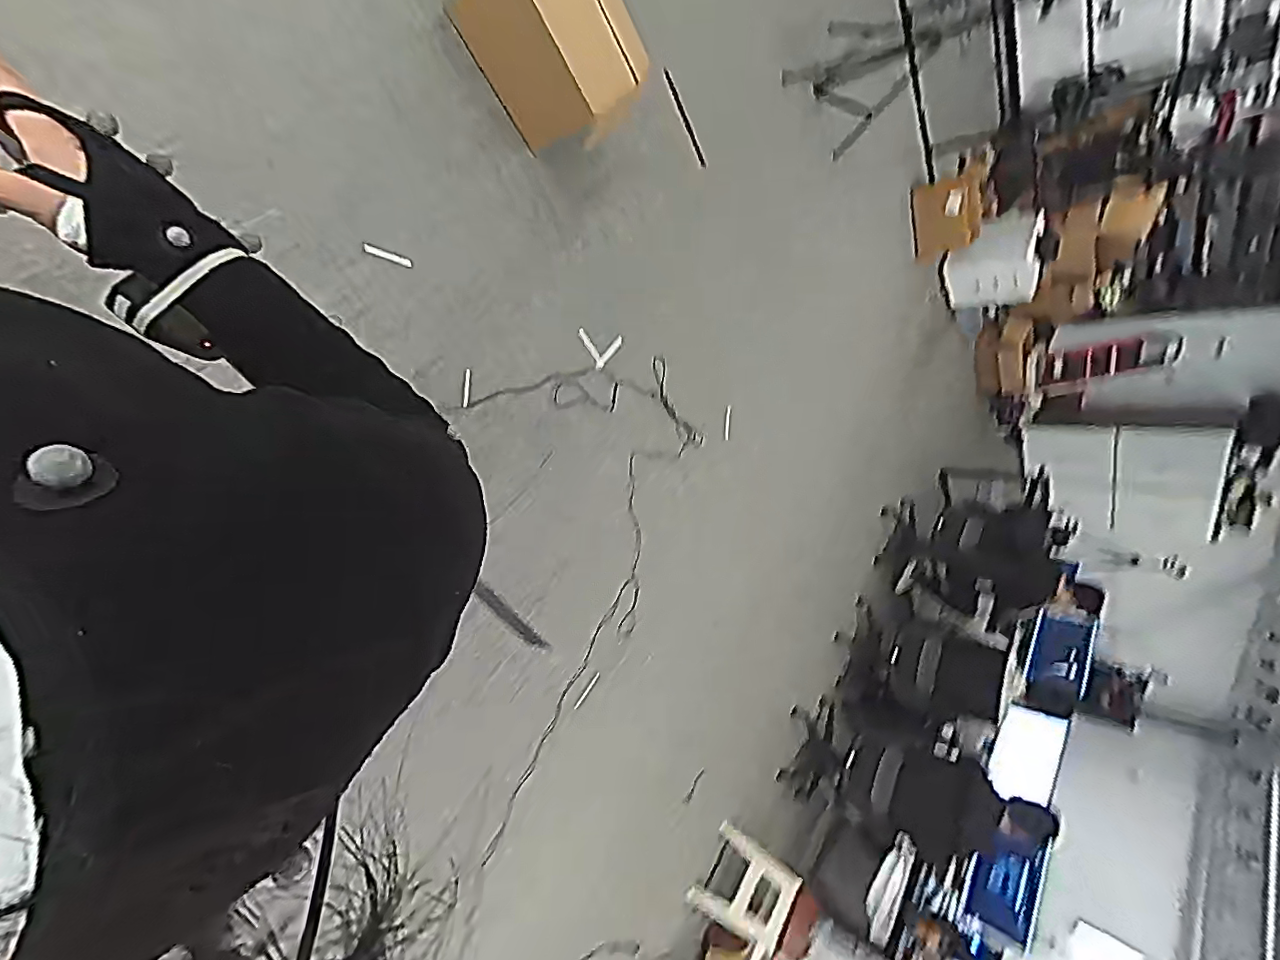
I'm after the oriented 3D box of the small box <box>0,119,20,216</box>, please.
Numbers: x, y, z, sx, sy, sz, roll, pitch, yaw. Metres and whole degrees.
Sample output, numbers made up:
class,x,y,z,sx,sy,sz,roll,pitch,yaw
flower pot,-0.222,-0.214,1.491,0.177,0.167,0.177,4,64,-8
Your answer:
class,x,y,z,sx,sy,sz,roll,pitch,yaw
small box,-0.512,-0.262,0.313,0.179,0.176,0.168,-15,110,-45
